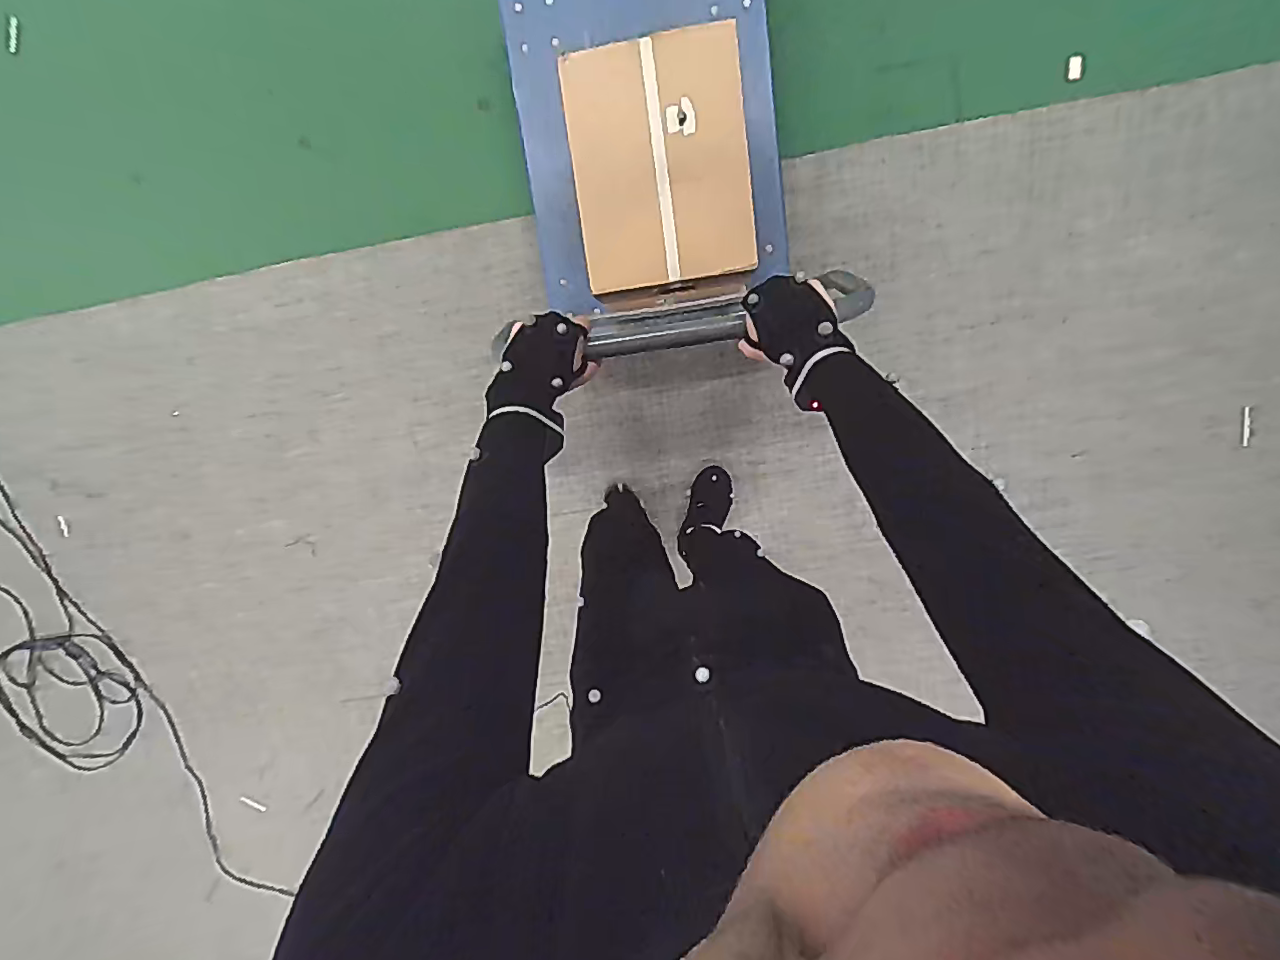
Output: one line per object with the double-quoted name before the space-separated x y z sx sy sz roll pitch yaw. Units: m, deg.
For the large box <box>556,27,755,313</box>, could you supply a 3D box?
"large box" 0.042 -0.587 1.112 0.320 0.320 0.408 -7 100 4
